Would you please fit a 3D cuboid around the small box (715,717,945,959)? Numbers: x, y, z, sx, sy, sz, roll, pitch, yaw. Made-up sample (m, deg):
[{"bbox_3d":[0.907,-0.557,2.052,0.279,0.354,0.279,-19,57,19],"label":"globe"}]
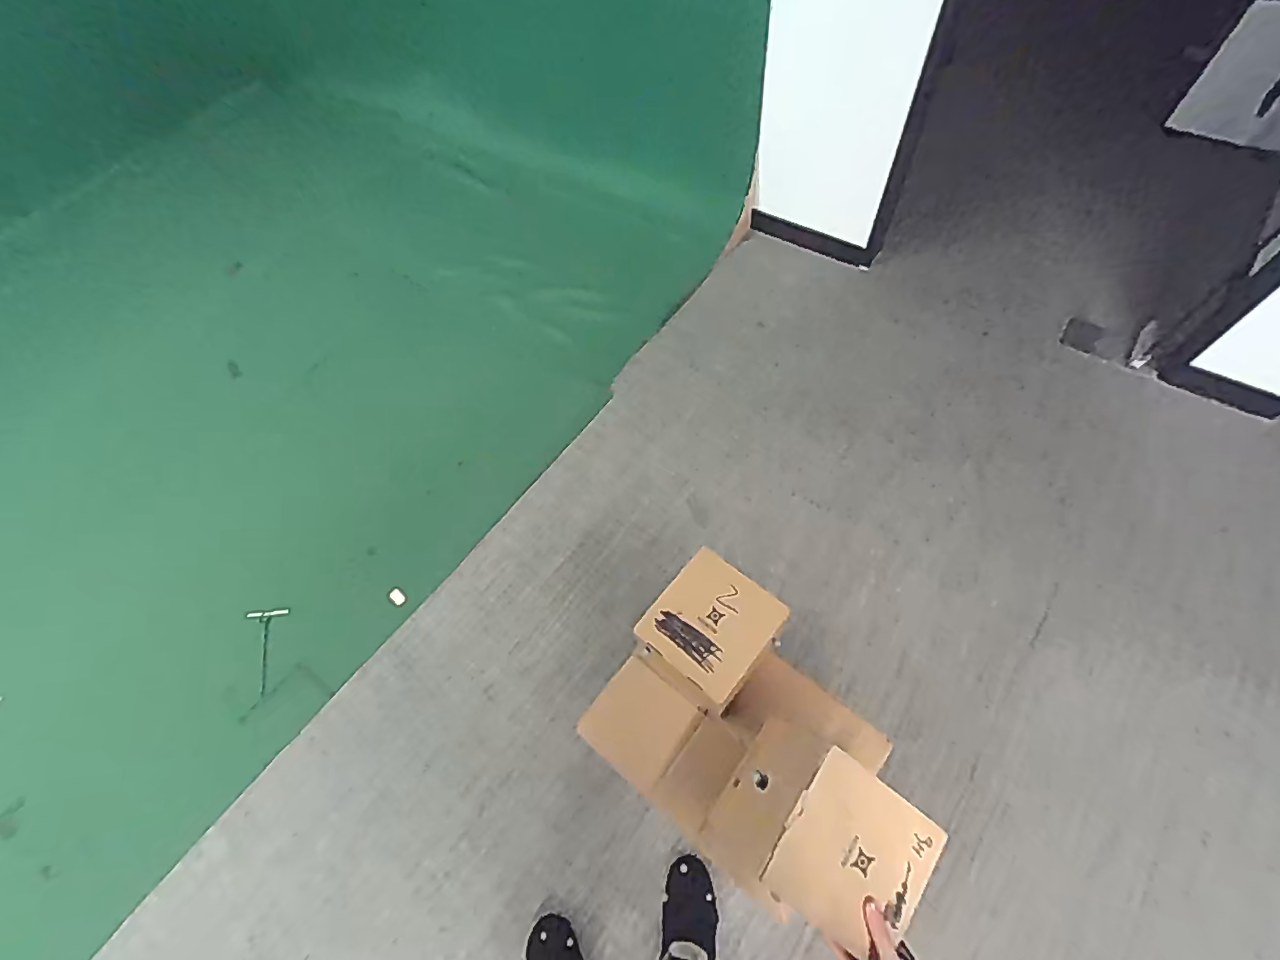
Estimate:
[{"bbox_3d":[0.220,0.421,0.672,0.179,0.176,0.168,38,74,-1],"label":"small box"}]
